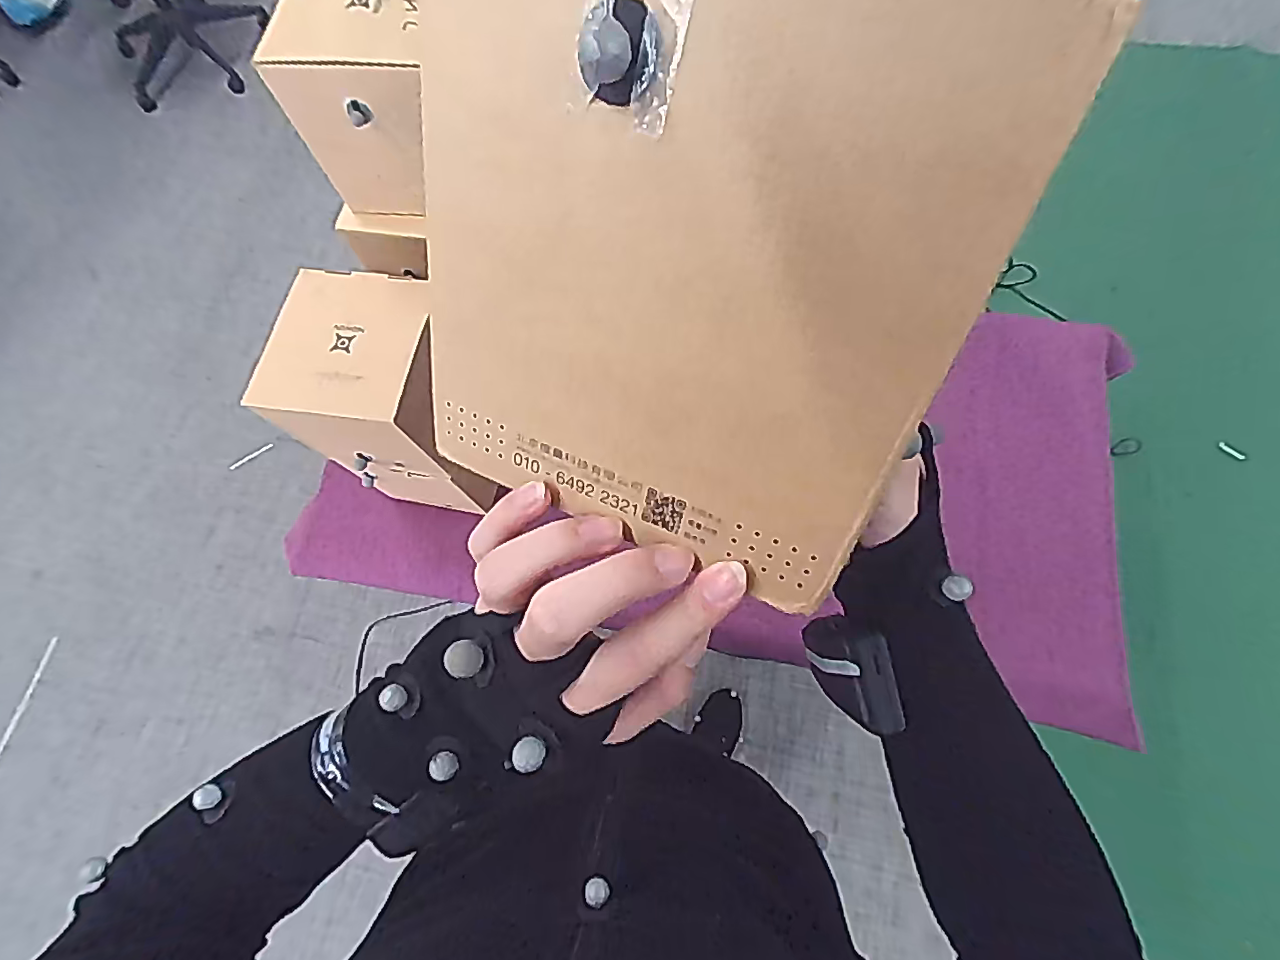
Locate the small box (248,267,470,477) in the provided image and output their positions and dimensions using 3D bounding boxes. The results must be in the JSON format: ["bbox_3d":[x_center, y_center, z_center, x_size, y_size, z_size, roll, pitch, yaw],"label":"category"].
[{"bbox_3d":[-0.308,-0.121,0.650,0.168,0.176,0.179,8,71,5],"label":"small box"}]

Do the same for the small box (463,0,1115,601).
[{"bbox_3d":[0.039,-0.085,0.234,0.168,0.176,0.179,23,35,16],"label":"small box"}]

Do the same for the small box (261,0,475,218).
[{"bbox_3d":[-0.241,-0.406,0.574,0.179,0.176,0.168,4,71,3],"label":"small box"}]

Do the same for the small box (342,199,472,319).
[{"bbox_3d":[-0.252,-0.330,0.722,0.168,0.176,0.179,7,71,4],"label":"small box"}]
